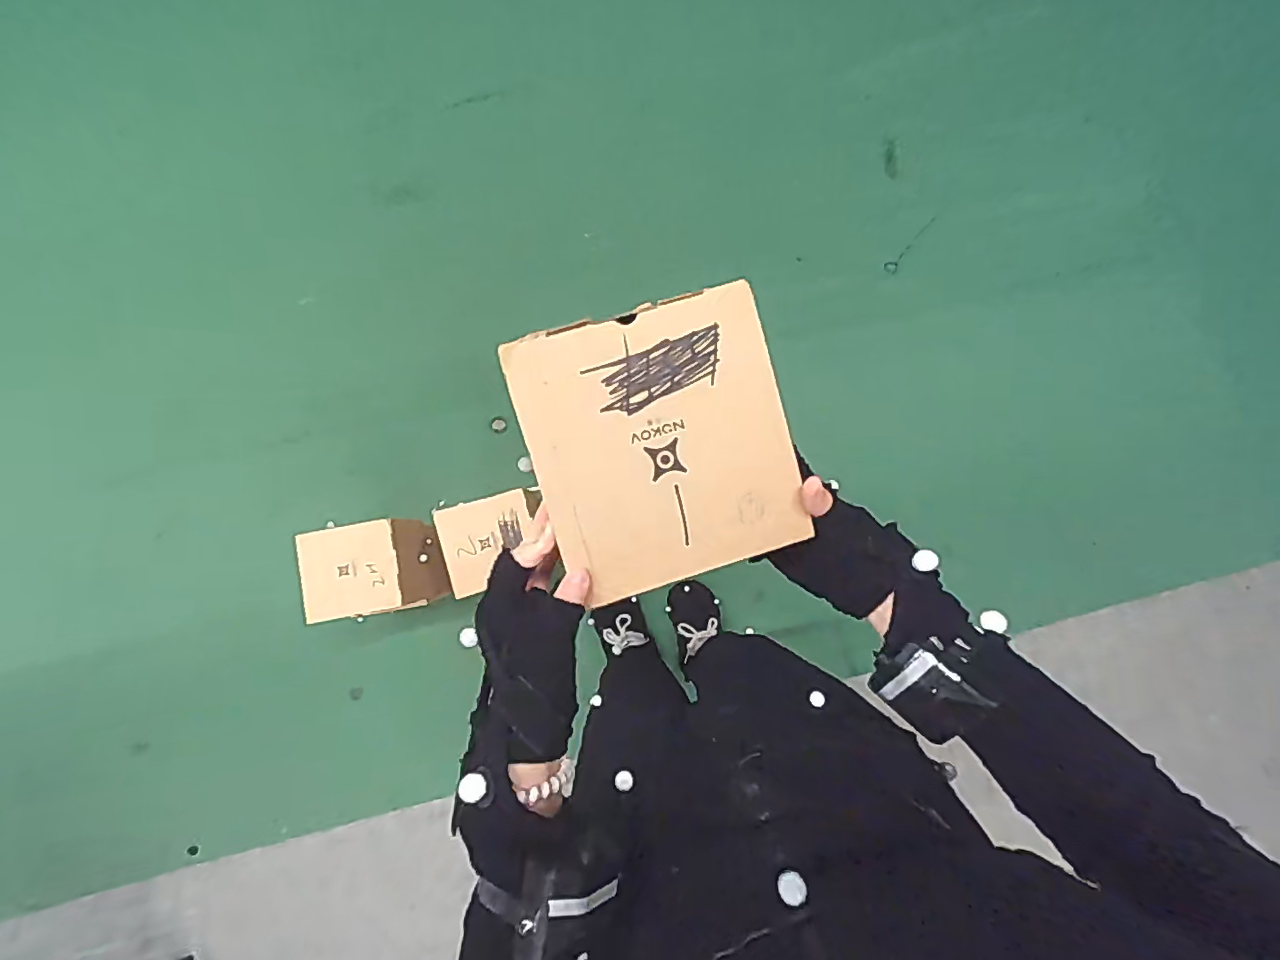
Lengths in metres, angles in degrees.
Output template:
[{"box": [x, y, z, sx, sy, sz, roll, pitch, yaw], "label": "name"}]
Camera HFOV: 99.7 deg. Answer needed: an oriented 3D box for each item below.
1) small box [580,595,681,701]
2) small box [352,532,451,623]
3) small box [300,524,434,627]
[{"box": [-0.023, 0.380, 1.250, 0.179, 0.176, 0.168, 16, 93, 17], "label": "small box"}, {"box": [-0.543, 0.215, 1.231, 0.168, 0.176, 0.179, -9, 84, -3], "label": "small box"}, {"box": [-0.531, 0.185, 1.069, 0.179, 0.176, 0.168, -10, 84, -3], "label": "small box"}]
